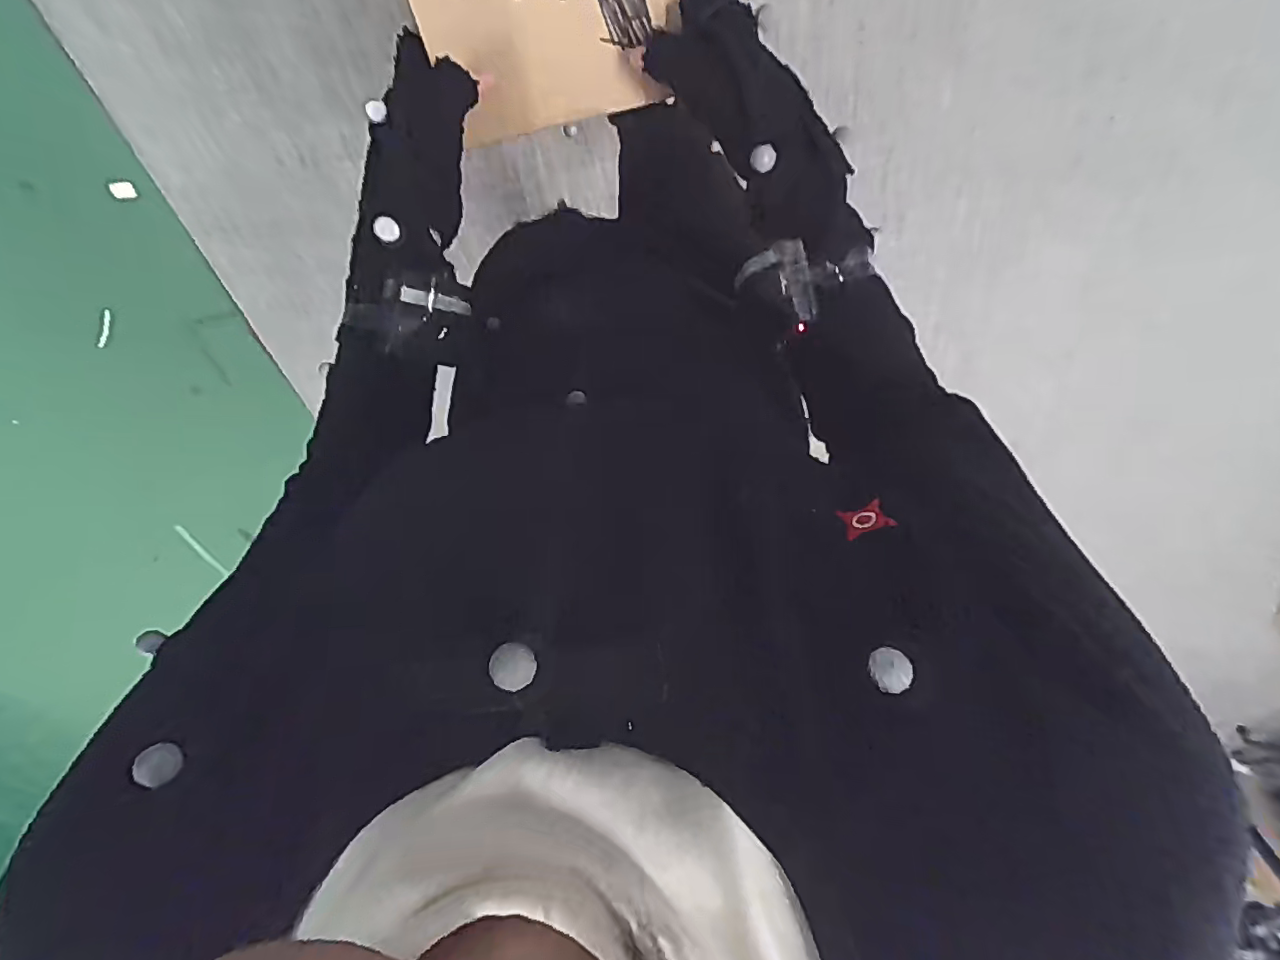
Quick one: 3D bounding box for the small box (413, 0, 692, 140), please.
[{"bbox_3d":[-0.068,-0.378,0.404,0.179,0.176,0.168,-12,128,5],"label":"small box"}]
